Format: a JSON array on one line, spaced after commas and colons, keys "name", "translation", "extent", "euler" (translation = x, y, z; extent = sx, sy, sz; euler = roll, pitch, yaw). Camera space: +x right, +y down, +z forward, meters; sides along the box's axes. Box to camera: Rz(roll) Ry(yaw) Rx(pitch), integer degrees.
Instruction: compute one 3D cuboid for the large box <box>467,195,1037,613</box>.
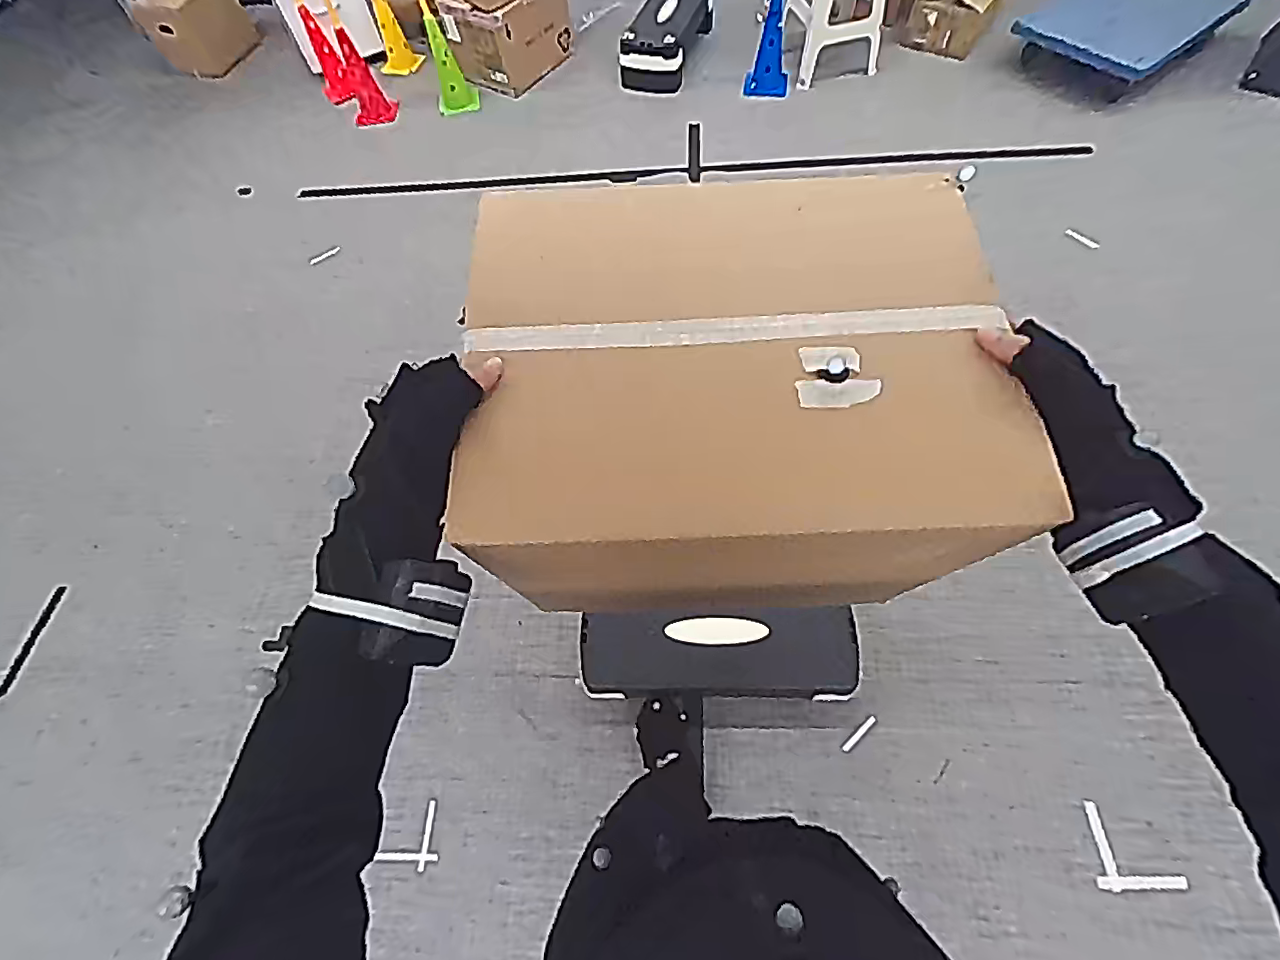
[{"name": "large box", "translation": [0.072, -0.048, 0.564], "extent": [0.408, 0.320, 0.320], "euler": [-2, 68, 1]}]
